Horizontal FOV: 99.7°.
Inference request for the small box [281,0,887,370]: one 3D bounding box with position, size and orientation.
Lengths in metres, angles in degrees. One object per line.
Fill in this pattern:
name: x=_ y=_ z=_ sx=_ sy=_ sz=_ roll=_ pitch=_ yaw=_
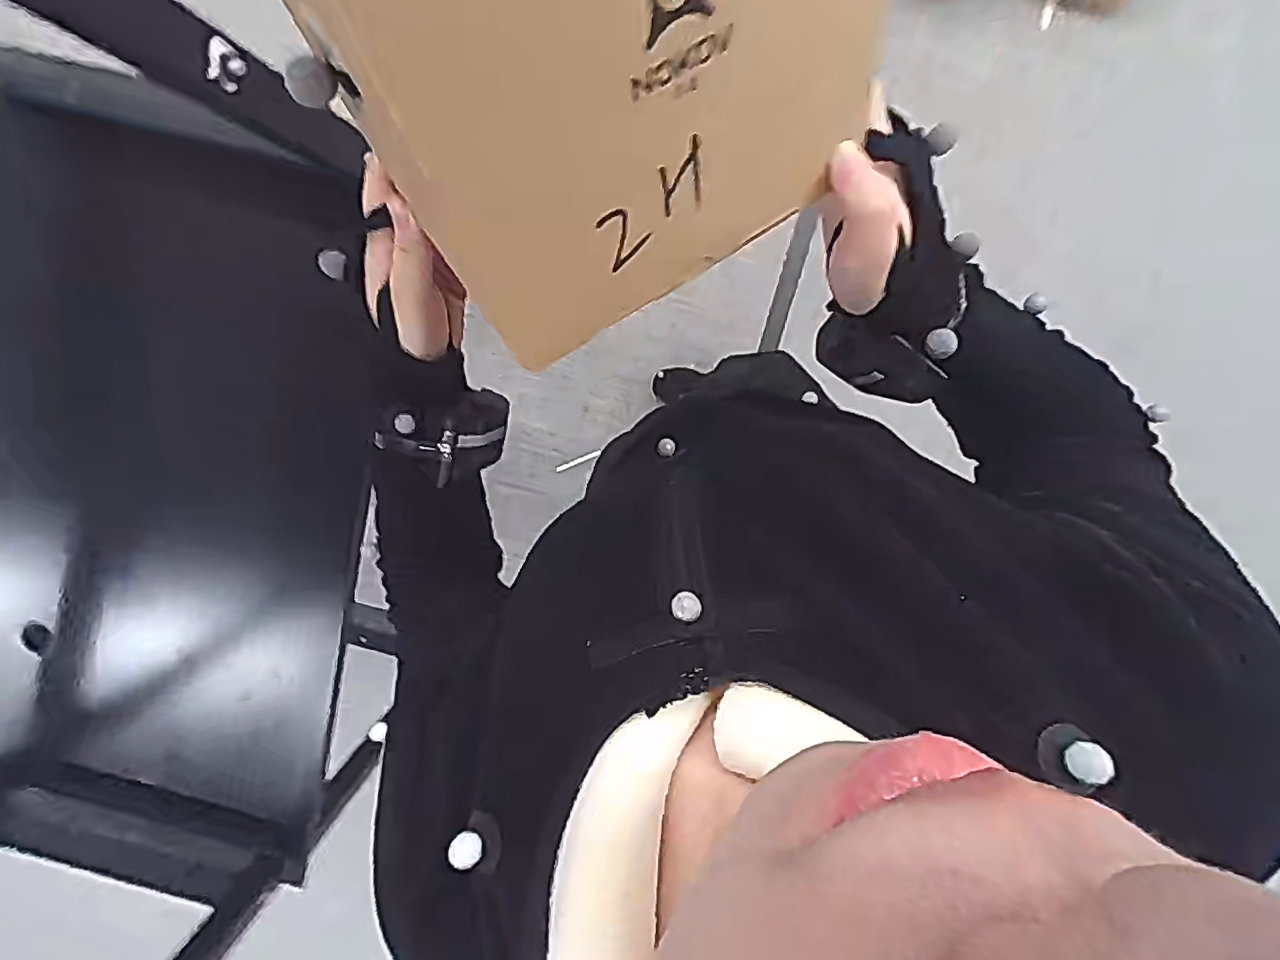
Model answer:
small box: x=-0.034 y=-0.181 z=0.190 sx=0.168 sy=0.179 sz=0.176 roll=-32 pitch=58 yaw=-8
